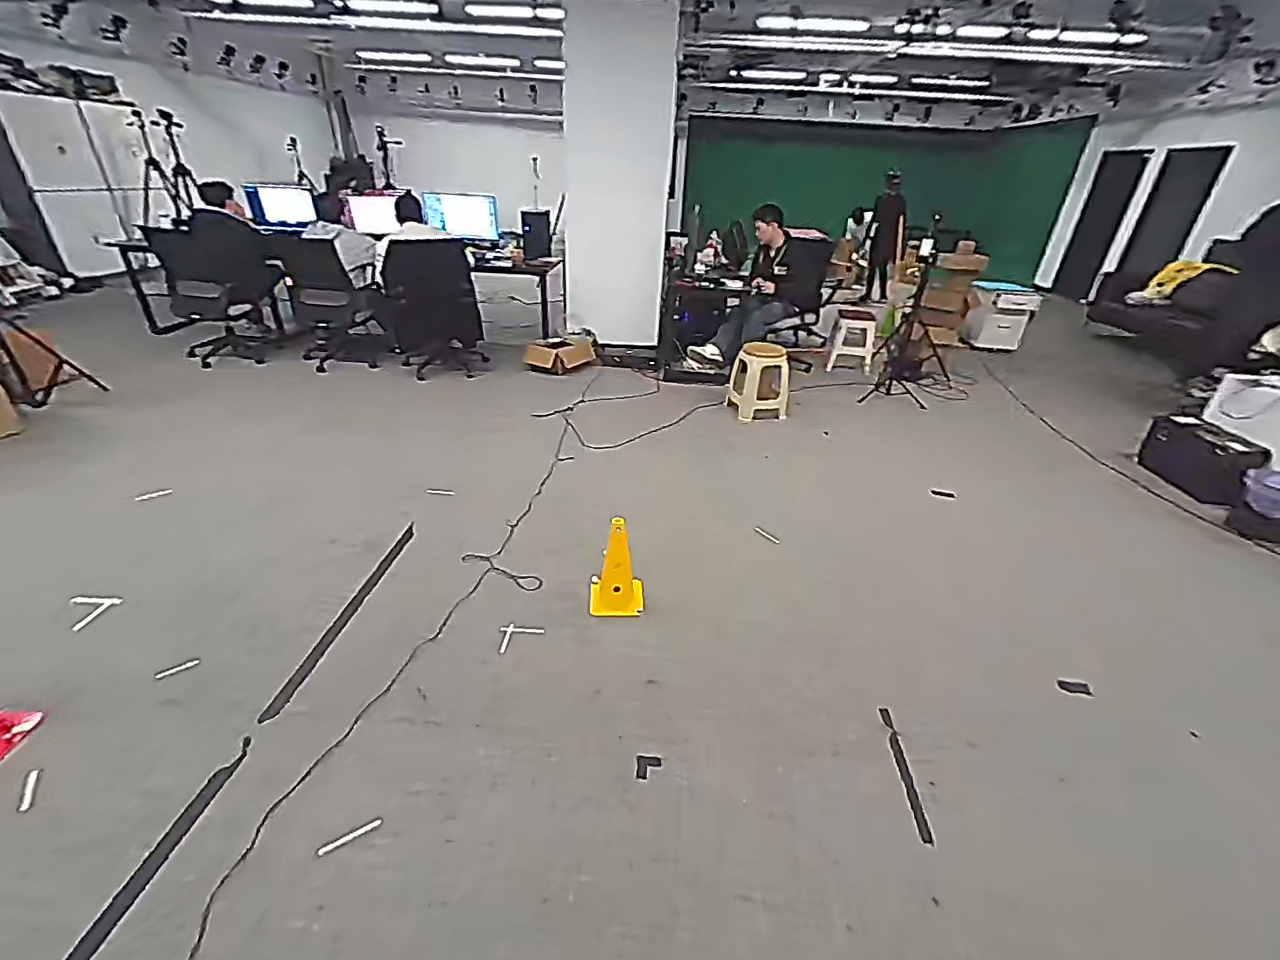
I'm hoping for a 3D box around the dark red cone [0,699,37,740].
[{"bbox_3d":[-1.788,0.532,1.370,0.201,0.394,0.202,2,29,-5],"label":"dark red cone"}]
